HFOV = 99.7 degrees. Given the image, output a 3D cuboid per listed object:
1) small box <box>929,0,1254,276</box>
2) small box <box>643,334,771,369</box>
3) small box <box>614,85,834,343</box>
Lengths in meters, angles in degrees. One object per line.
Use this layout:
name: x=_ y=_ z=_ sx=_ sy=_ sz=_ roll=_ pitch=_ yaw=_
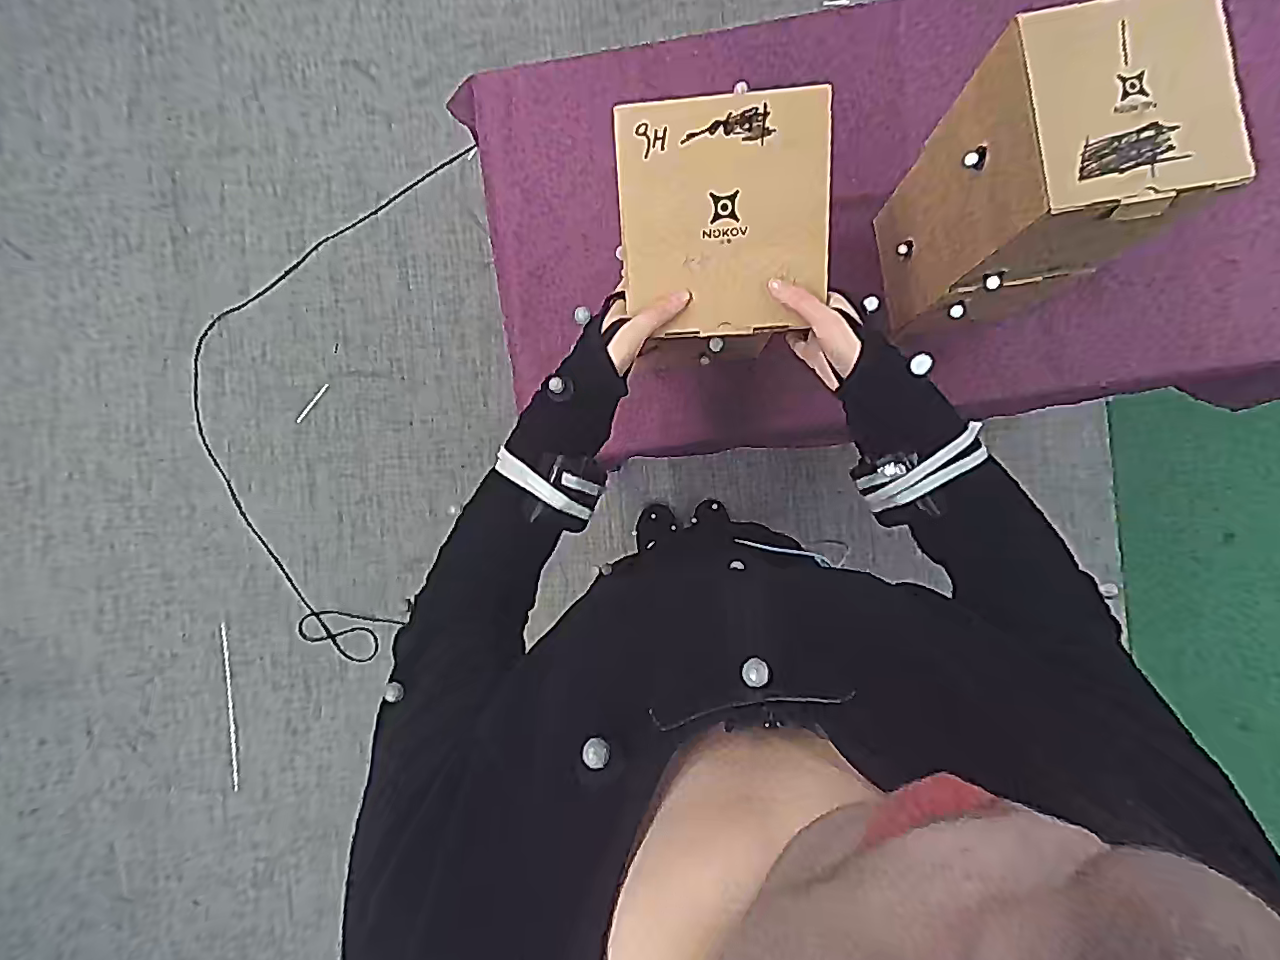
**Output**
small box: x=0.412 y=-0.318 z=0.527 sx=0.168 sy=0.176 sz=0.179 roll=-8 pitch=86 yaw=3
small box: x=0.078 y=-0.259 z=0.709 sx=0.168 sy=0.176 sz=0.179 roll=-7 pitch=88 yaw=3
small box: x=0.072 y=-0.226 z=0.502 sx=0.168 sy=0.176 sz=0.179 roll=-3 pitch=106 yaw=5
